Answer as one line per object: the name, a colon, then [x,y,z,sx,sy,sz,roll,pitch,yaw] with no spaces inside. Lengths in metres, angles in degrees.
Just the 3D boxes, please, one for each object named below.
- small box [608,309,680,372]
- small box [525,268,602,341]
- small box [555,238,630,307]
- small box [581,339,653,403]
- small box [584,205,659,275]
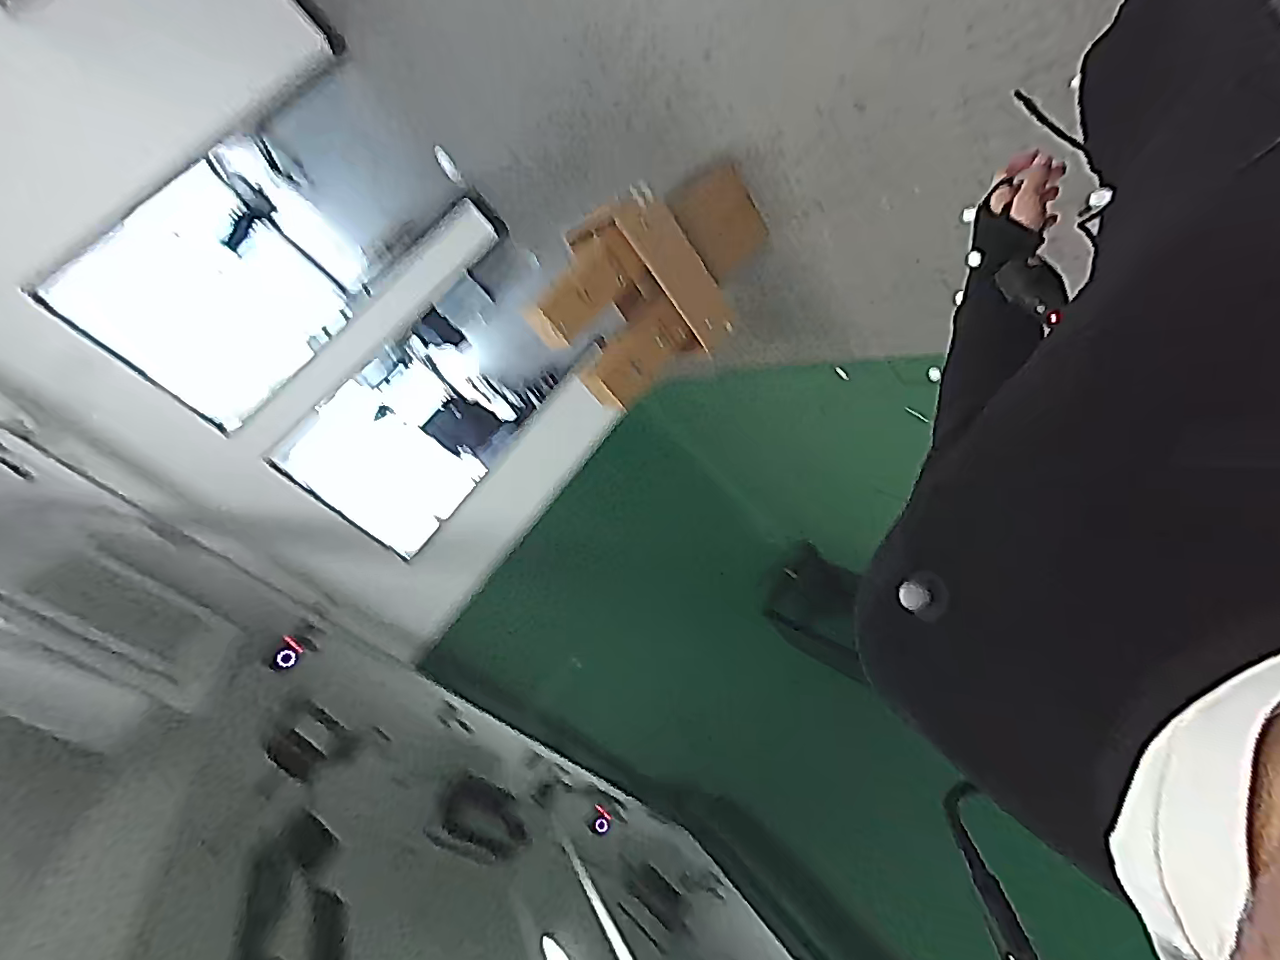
small box: [0.018,-0.535,2.062,0.168,0.176,0.179,47,165,-33]
small box: [-0.262,-0.604,1.870,0.168,0.176,0.179,47,165,-30]
small box: [-0.159,-0.727,1.903,0.168,0.176,0.179,48,164,-32]
small box: [-0.082,-0.412,2.024,0.168,0.176,0.179,46,165,-33]
small box: [-0.063,-0.854,1.946,0.168,0.176,0.179,48,163,-31]
